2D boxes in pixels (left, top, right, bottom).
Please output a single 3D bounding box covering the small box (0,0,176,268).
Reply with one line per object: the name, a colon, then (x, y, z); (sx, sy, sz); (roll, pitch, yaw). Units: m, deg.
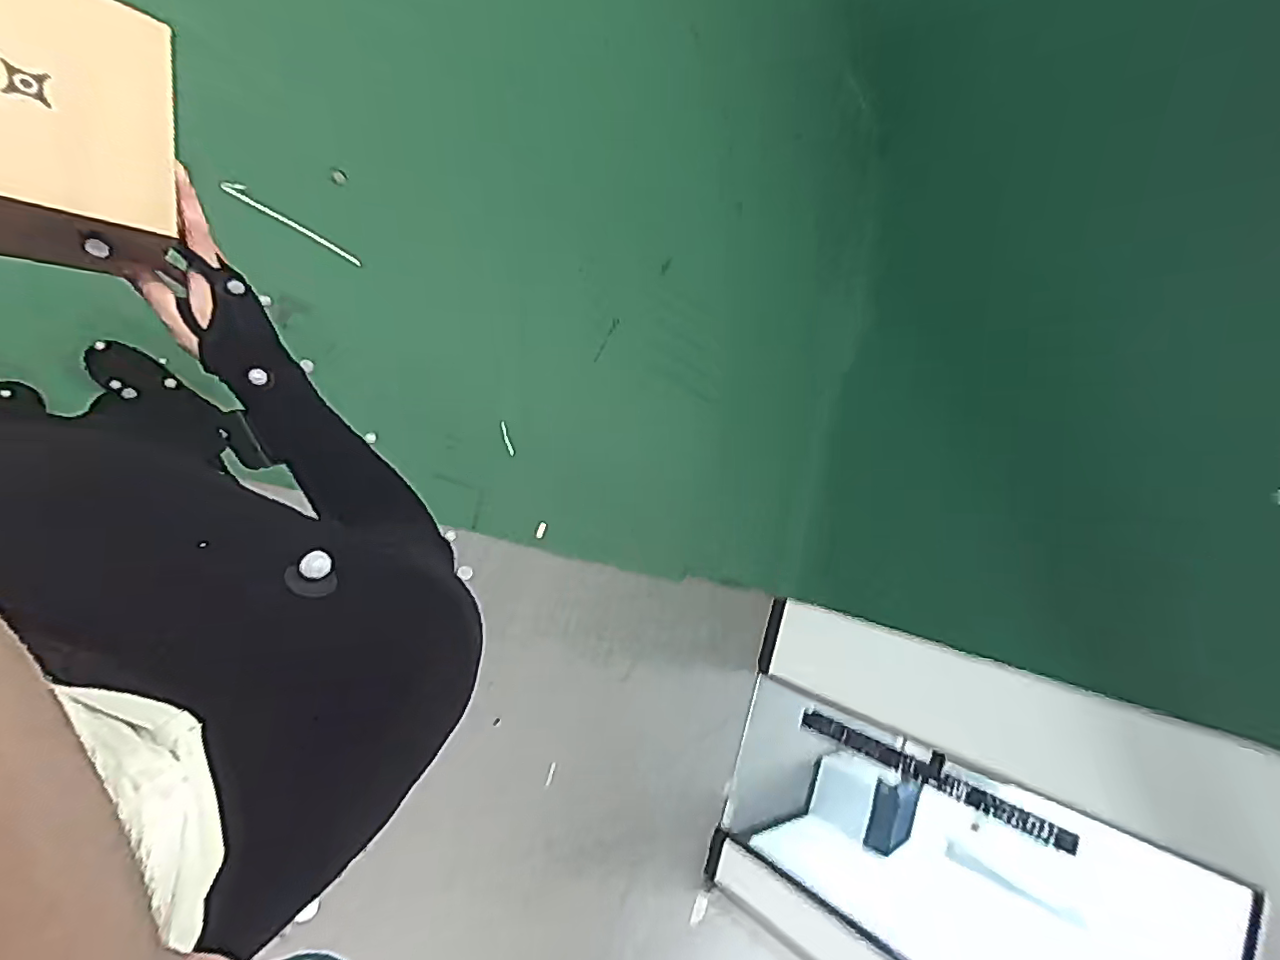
small box: (-0.487, -0.277, 0.415); (0.179, 0.176, 0.168); (-3, 93, -48)
